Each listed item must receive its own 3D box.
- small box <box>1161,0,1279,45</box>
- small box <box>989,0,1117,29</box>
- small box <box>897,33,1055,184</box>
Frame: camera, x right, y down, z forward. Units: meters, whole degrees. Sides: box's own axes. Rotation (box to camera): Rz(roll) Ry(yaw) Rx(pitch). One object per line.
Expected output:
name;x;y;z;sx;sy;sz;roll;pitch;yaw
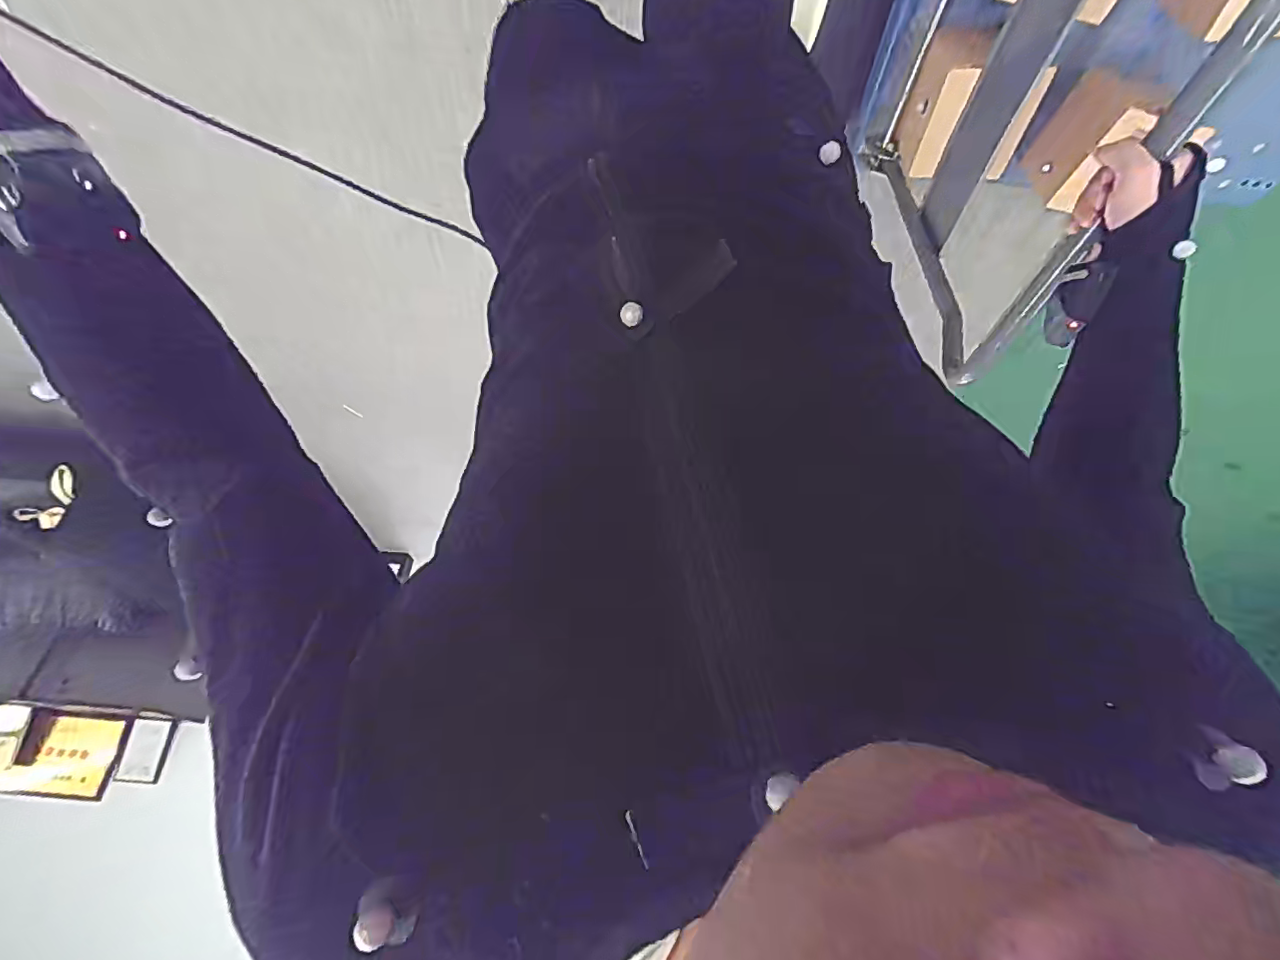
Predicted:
small box;0.916;-0.755;0.769;0.179;0.176;0.168;1;147;8
small box;0.613;-0.791;0.768;0.179;0.176;0.168;10;147;-5
small box;0.580;-0.663;0.965;0.168;0.176;0.179;5;148;3
